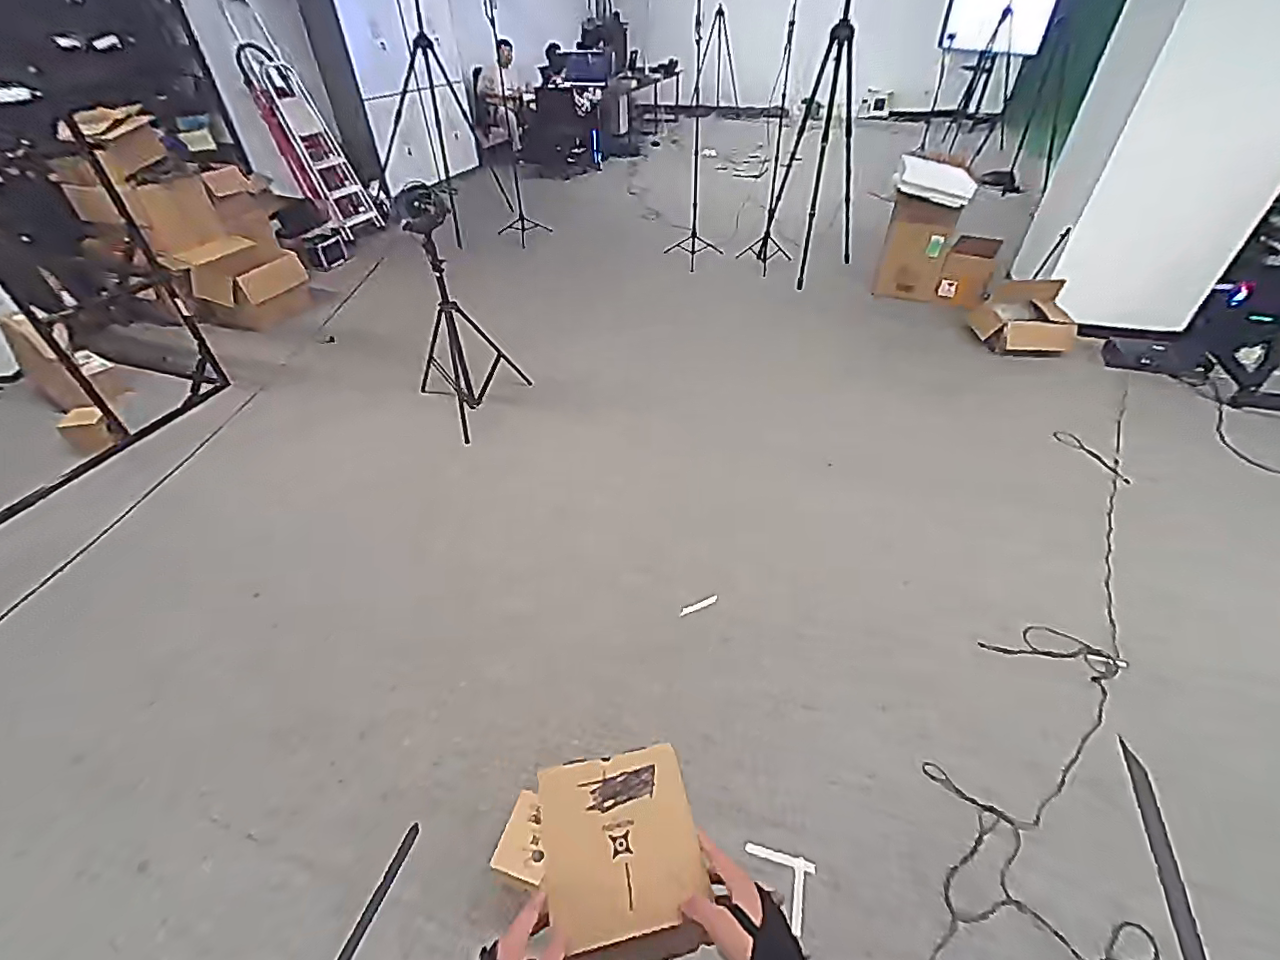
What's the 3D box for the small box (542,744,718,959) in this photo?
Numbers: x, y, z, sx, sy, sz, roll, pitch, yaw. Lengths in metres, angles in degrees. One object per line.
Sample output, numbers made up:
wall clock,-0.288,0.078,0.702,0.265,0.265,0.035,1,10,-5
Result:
small box,-0.024,0.446,0.631,0.168,0.176,0.179,-6,40,-12
